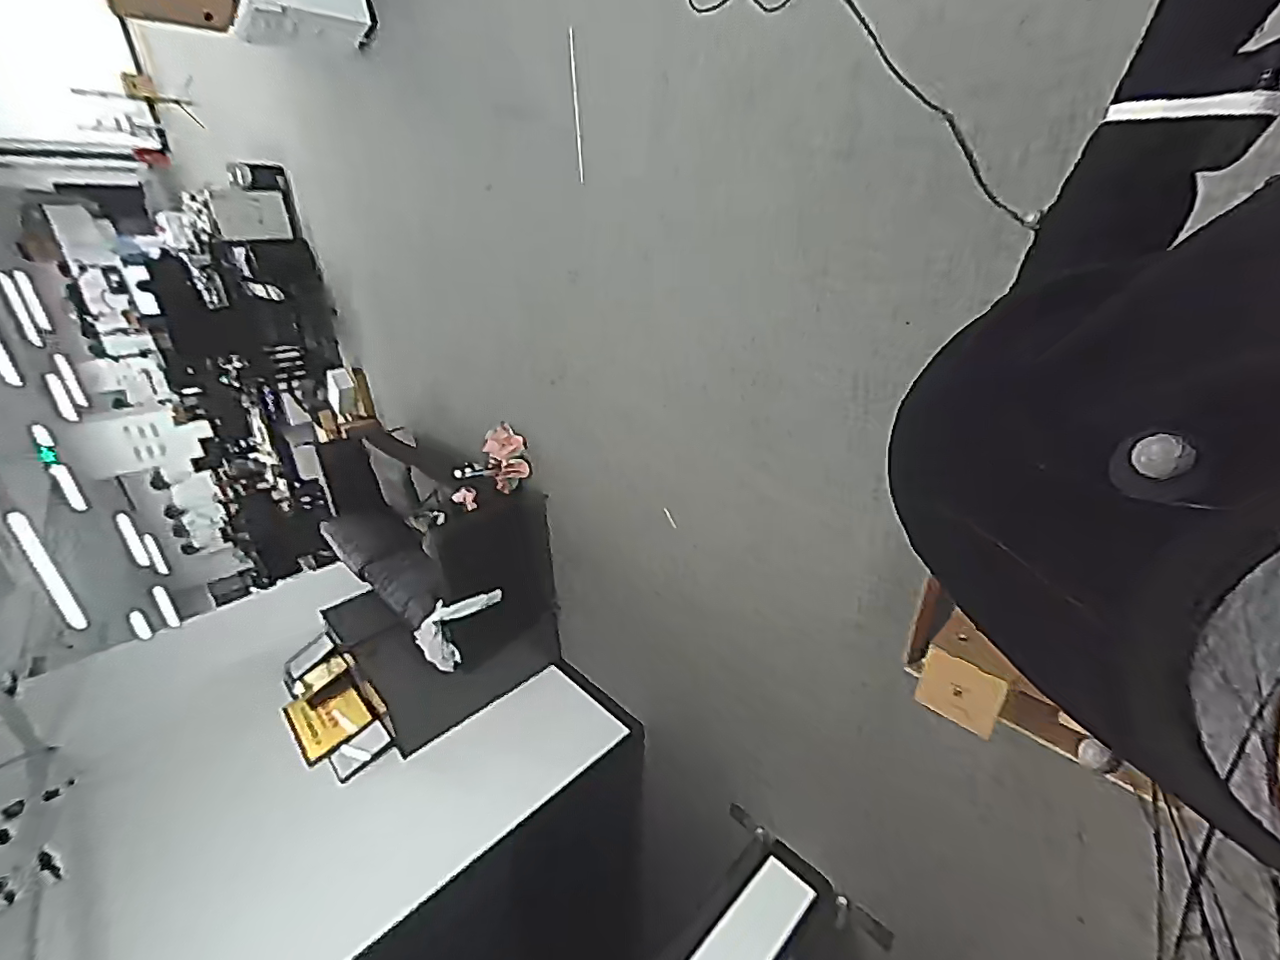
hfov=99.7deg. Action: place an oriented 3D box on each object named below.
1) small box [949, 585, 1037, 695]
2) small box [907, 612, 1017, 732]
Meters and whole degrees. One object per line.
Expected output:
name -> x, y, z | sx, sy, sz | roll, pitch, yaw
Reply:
small box -> 0.893, 0.405, 1.397 | 0.168, 0.176, 0.179 | 24, 124, 39
small box -> 0.774, 0.449, 1.296 | 0.168, 0.176, 0.179 | 25, 125, 40
